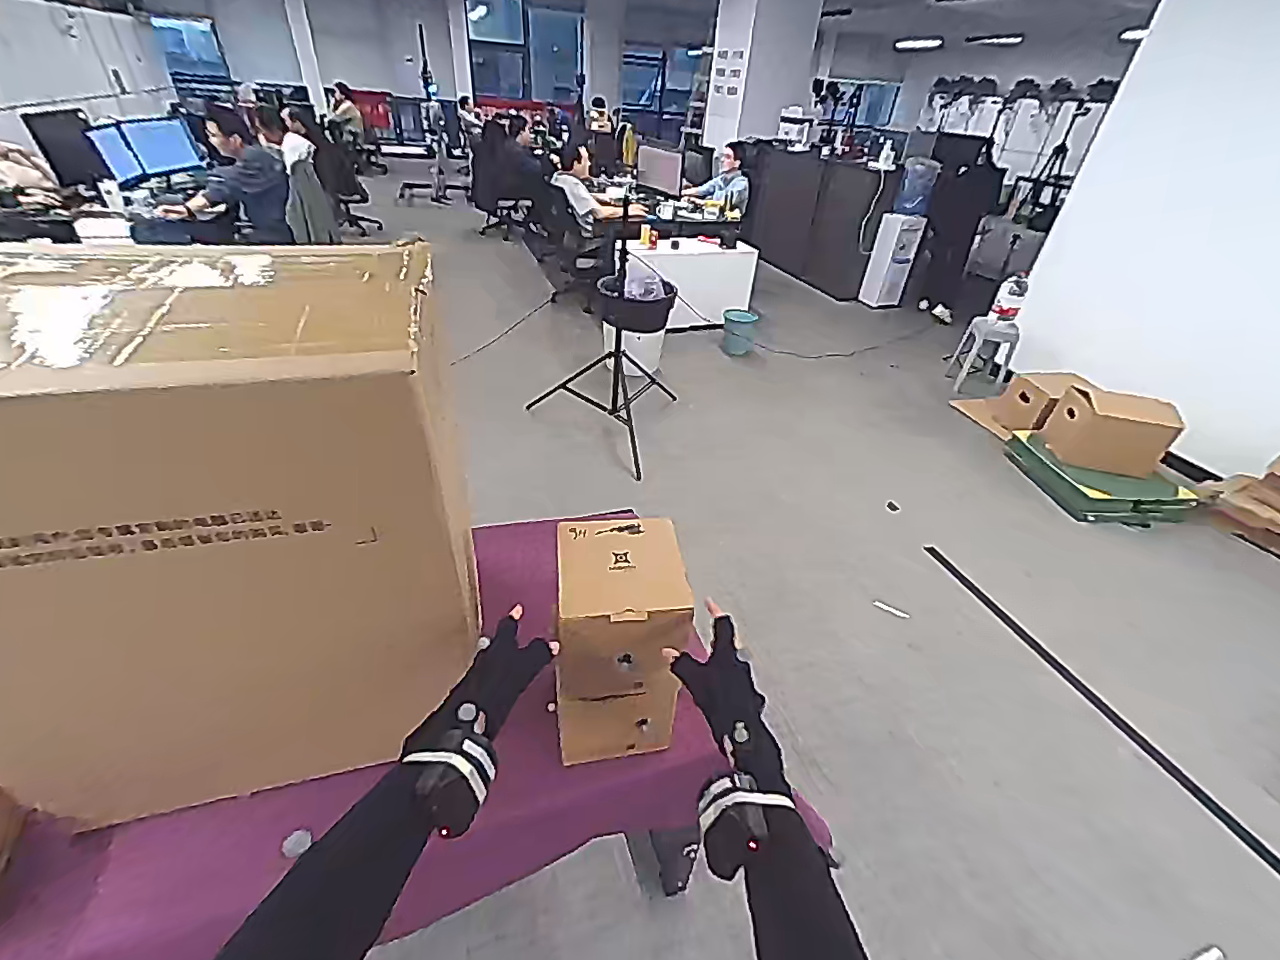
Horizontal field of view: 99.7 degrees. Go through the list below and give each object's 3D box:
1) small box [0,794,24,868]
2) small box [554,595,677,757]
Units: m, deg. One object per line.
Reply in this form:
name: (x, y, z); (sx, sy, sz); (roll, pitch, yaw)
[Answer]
small box: (-0.843, 0.429, 0.578); (0.179, 0.176, 0.168); (-11, 37, -21)
small box: (-0.046, 0.309, 0.847); (0.168, 0.176, 0.179); (-3, 35, -12)
